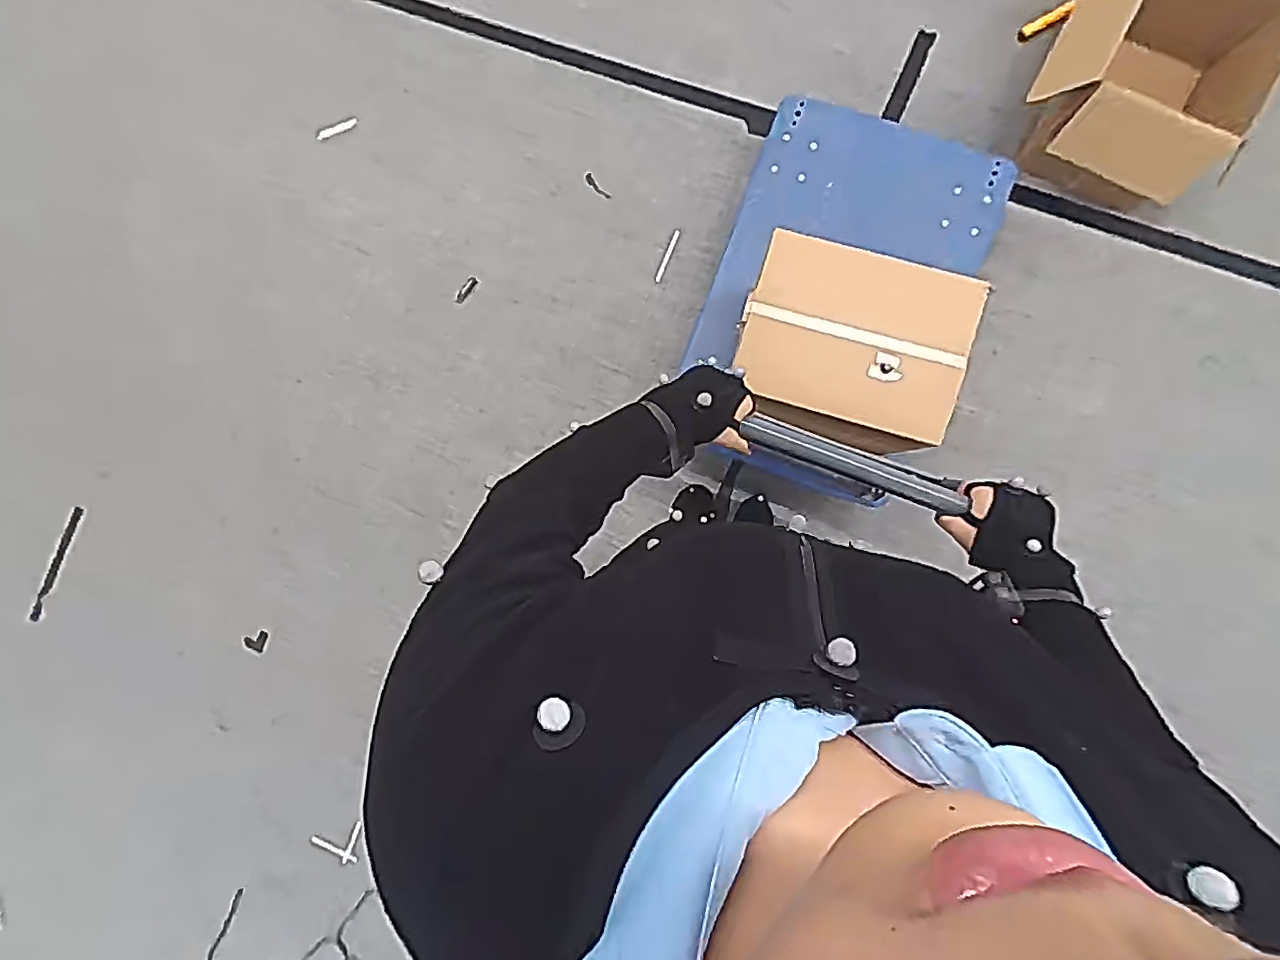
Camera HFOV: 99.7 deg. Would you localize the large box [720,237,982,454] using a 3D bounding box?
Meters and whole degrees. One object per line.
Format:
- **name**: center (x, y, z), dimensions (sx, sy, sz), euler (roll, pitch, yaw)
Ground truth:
- **large box**: center (0.411, -0.262, 1.159), dimensions (0.408, 0.320, 0.320), euler (17, 92, 4)
